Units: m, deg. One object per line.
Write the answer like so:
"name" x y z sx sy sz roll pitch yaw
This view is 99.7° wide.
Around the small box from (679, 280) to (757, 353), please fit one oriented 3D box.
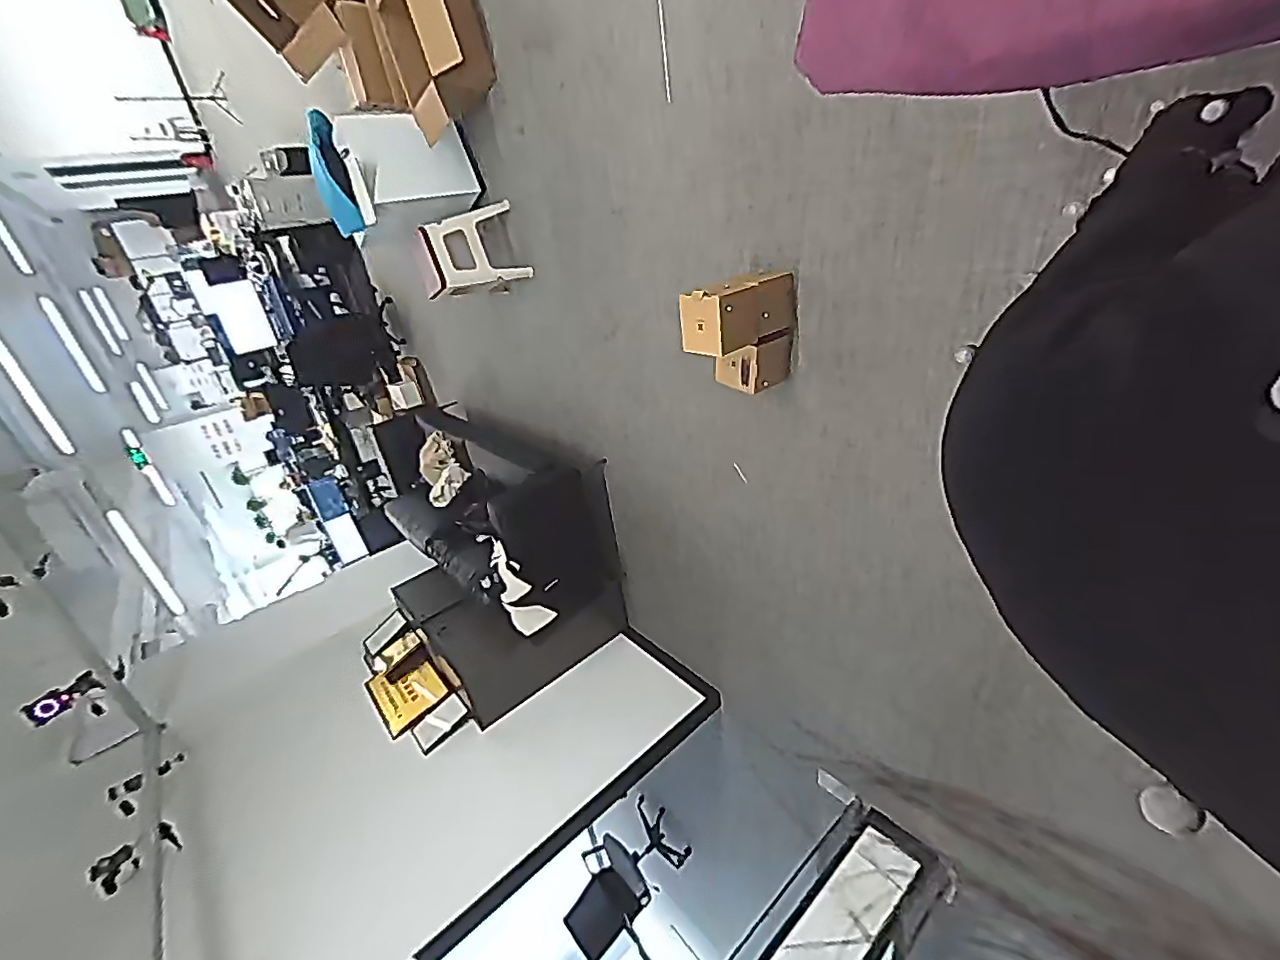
"small box" 0.242 -0.503 1.649 0.168 0.176 0.179 23 130 46
